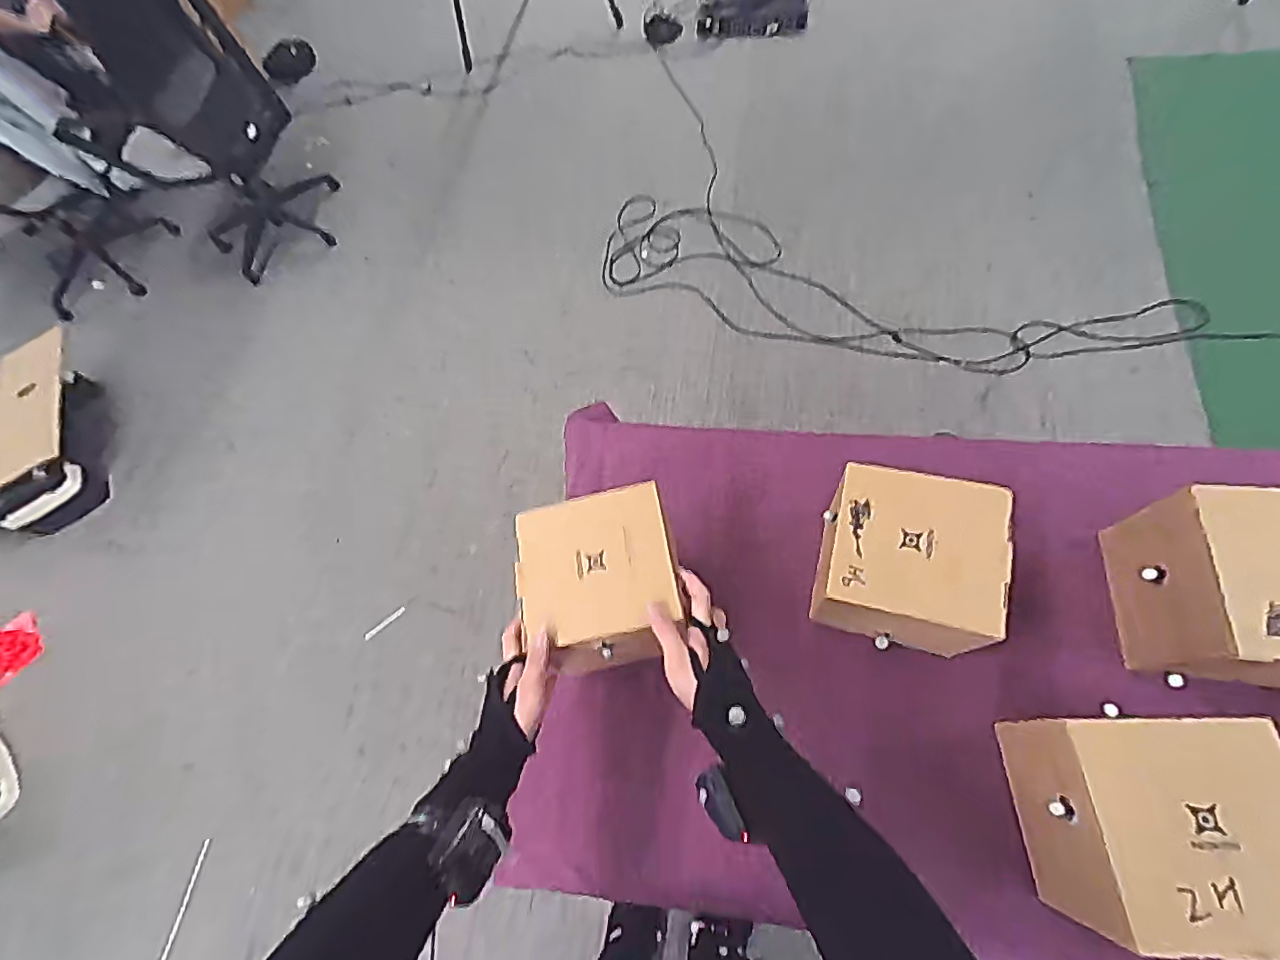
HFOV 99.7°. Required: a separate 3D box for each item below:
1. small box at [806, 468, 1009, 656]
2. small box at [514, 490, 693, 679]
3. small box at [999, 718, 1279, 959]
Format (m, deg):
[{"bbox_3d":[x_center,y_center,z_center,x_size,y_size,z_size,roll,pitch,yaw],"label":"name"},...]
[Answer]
[{"bbox_3d":[0.313,0.107,0.659,0.179,0.176,0.168,12,68,15],"label":"small box"},{"bbox_3d":[-0.041,0.137,0.666,0.179,0.176,0.168,-13,60,4],"label":"small box"},{"bbox_3d":[0.484,0.330,0.522,0.168,0.176,0.179,-5,64,10],"label":"small box"}]
